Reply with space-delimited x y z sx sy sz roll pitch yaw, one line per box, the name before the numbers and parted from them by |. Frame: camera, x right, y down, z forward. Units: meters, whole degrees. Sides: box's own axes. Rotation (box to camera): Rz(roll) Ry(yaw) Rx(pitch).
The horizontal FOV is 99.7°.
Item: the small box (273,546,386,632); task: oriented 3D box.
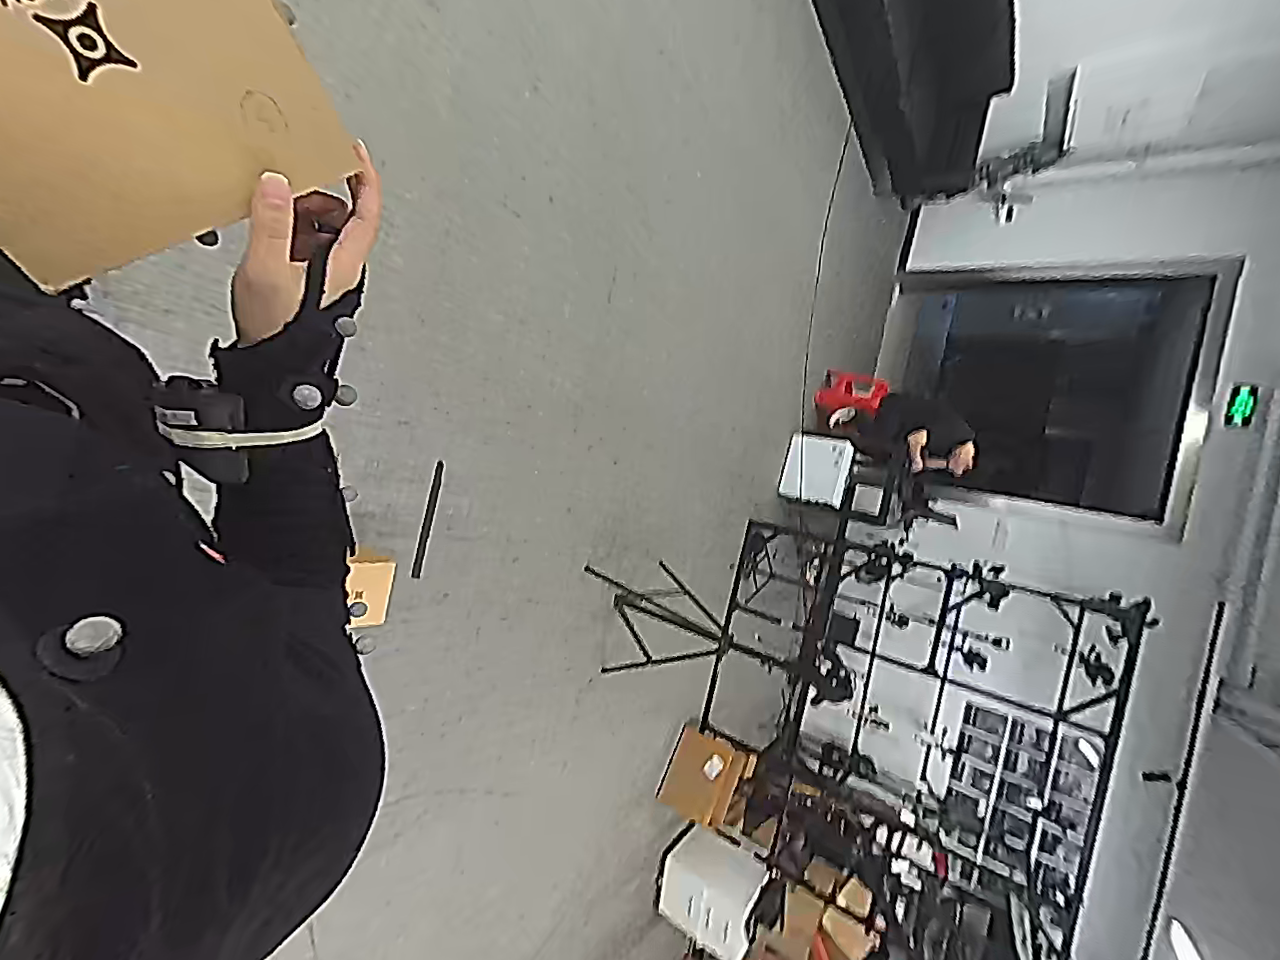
small box | -0.781 0.265 1.361 0.179 0.176 0.168 11 92 -56
